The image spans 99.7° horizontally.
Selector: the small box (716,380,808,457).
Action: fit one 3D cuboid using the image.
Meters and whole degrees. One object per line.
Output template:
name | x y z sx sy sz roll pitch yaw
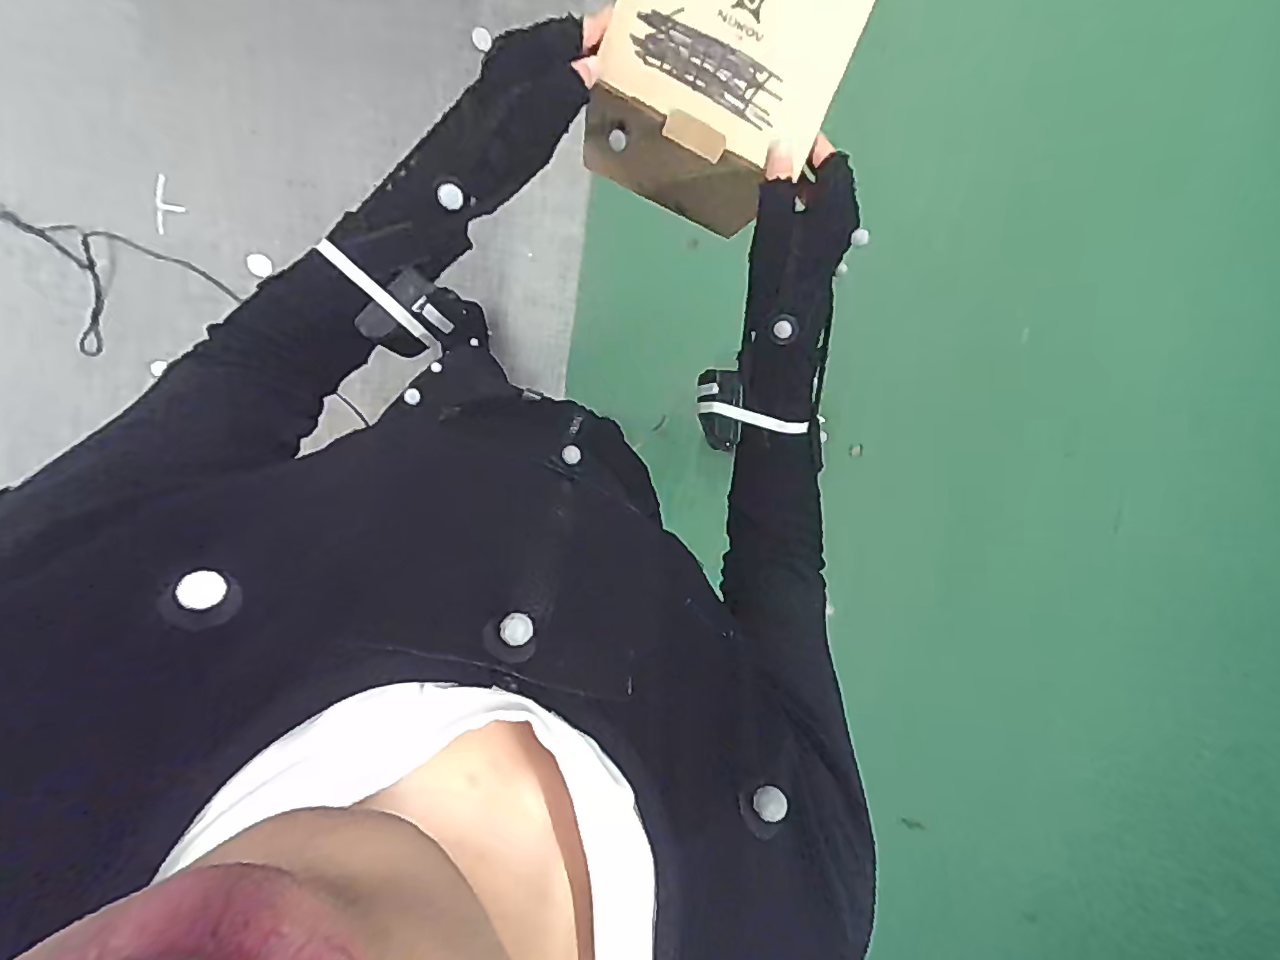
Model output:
small box | 0.308 -0.163 1.407 0.179 0.176 0.168 9 99 -7
